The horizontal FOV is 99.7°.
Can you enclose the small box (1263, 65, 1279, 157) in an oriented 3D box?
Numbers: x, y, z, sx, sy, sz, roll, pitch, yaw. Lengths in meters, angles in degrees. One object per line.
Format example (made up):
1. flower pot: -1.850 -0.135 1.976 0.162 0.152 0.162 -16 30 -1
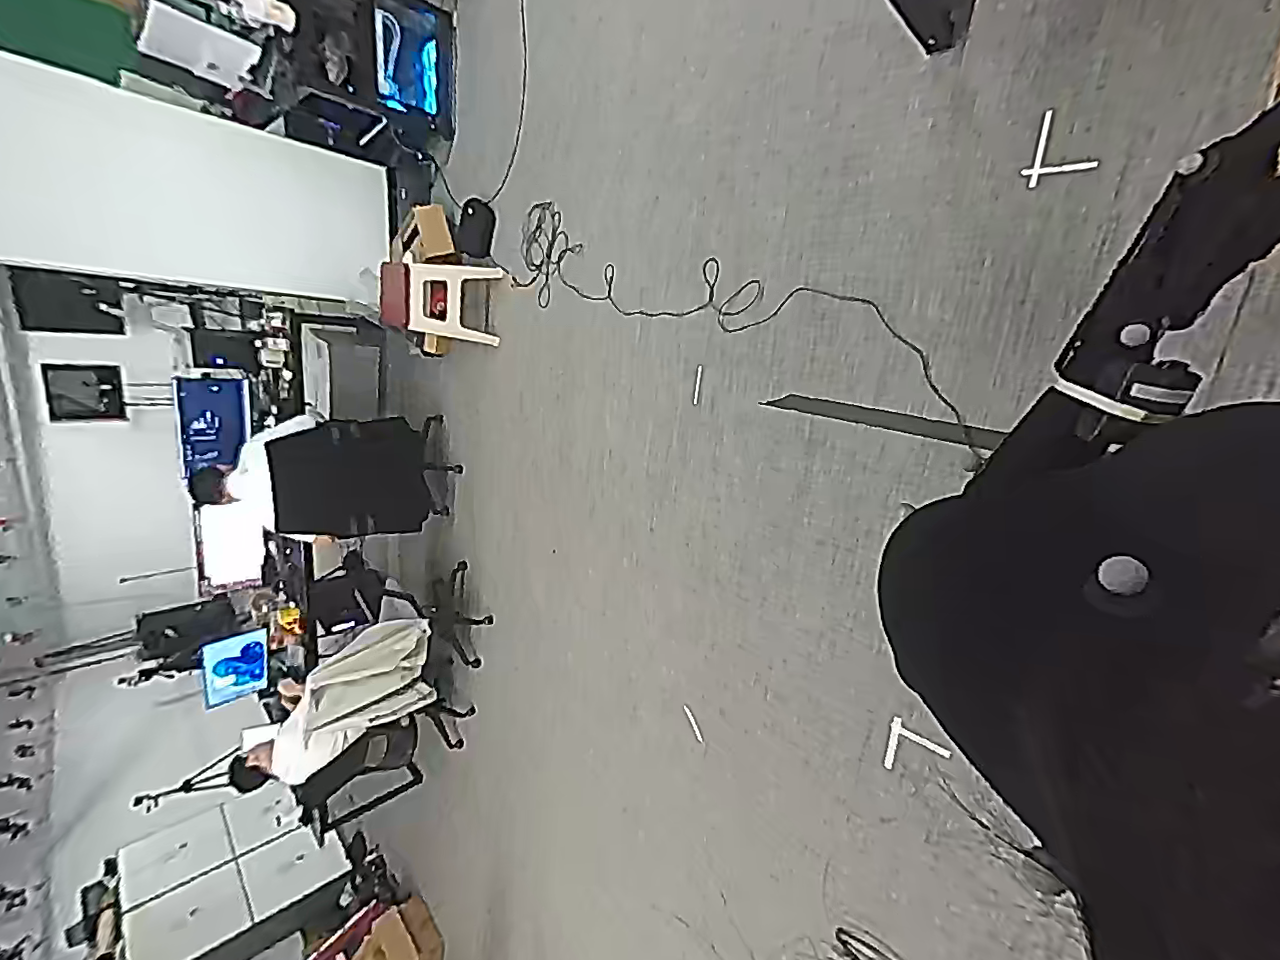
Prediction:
1. small box: 0.525 -0.301 0.305 0.179 0.176 0.168 6 112 33
